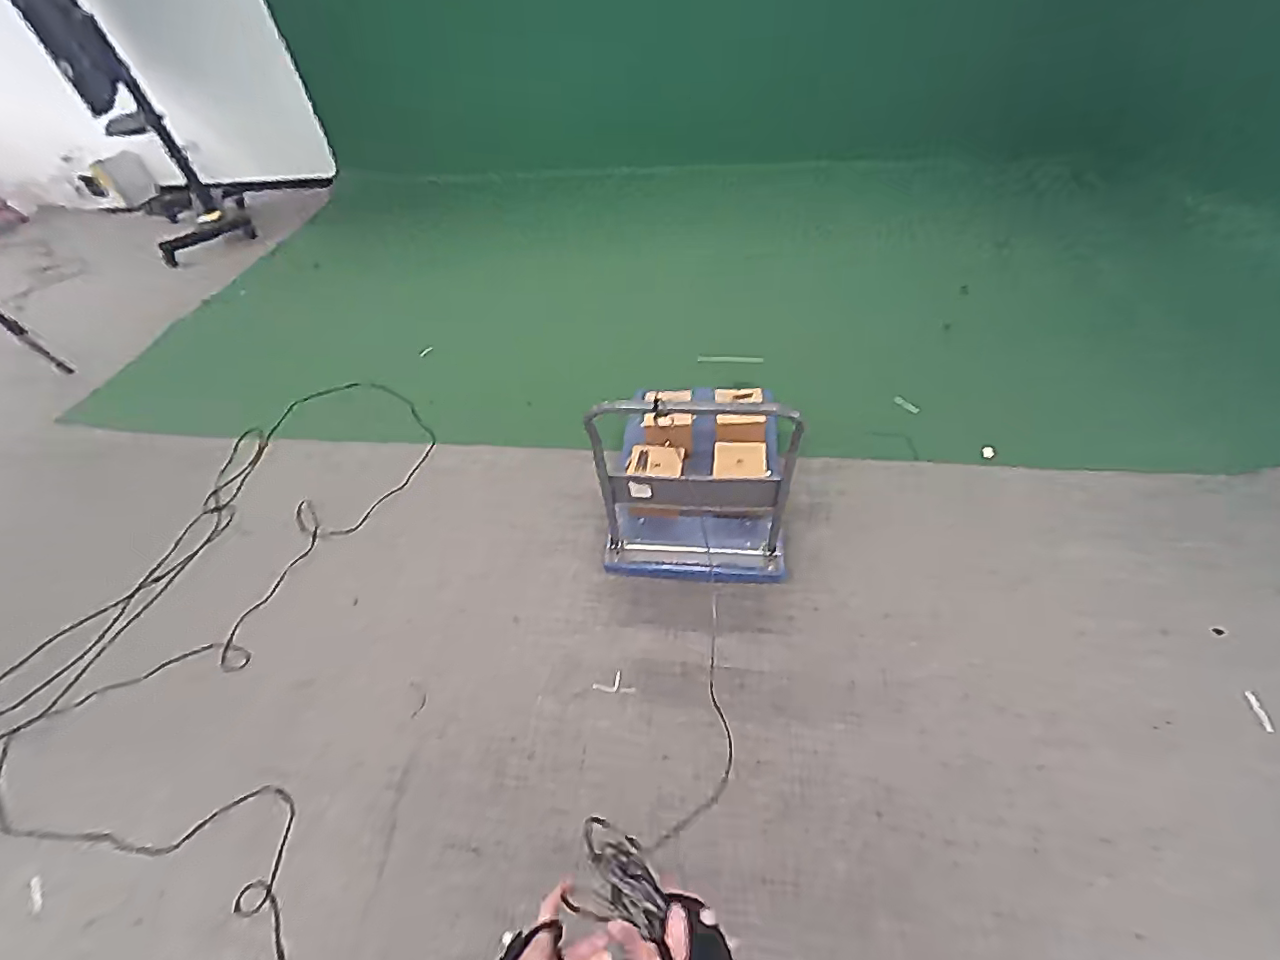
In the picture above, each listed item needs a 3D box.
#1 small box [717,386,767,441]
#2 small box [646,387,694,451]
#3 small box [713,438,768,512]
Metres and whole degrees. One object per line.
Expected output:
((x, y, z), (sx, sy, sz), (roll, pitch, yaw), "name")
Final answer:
((0.365, -0.222, 1.959), (0.168, 0.176, 0.179), (-1, 51, 6), "small box")
((0.115, -0.219, 1.984), (0.168, 0.176, 0.179), (0, 50, 5), "small box")
((0.332, -0.016, 1.788), (0.168, 0.176, 0.179), (3, 51, 9), "small box")
